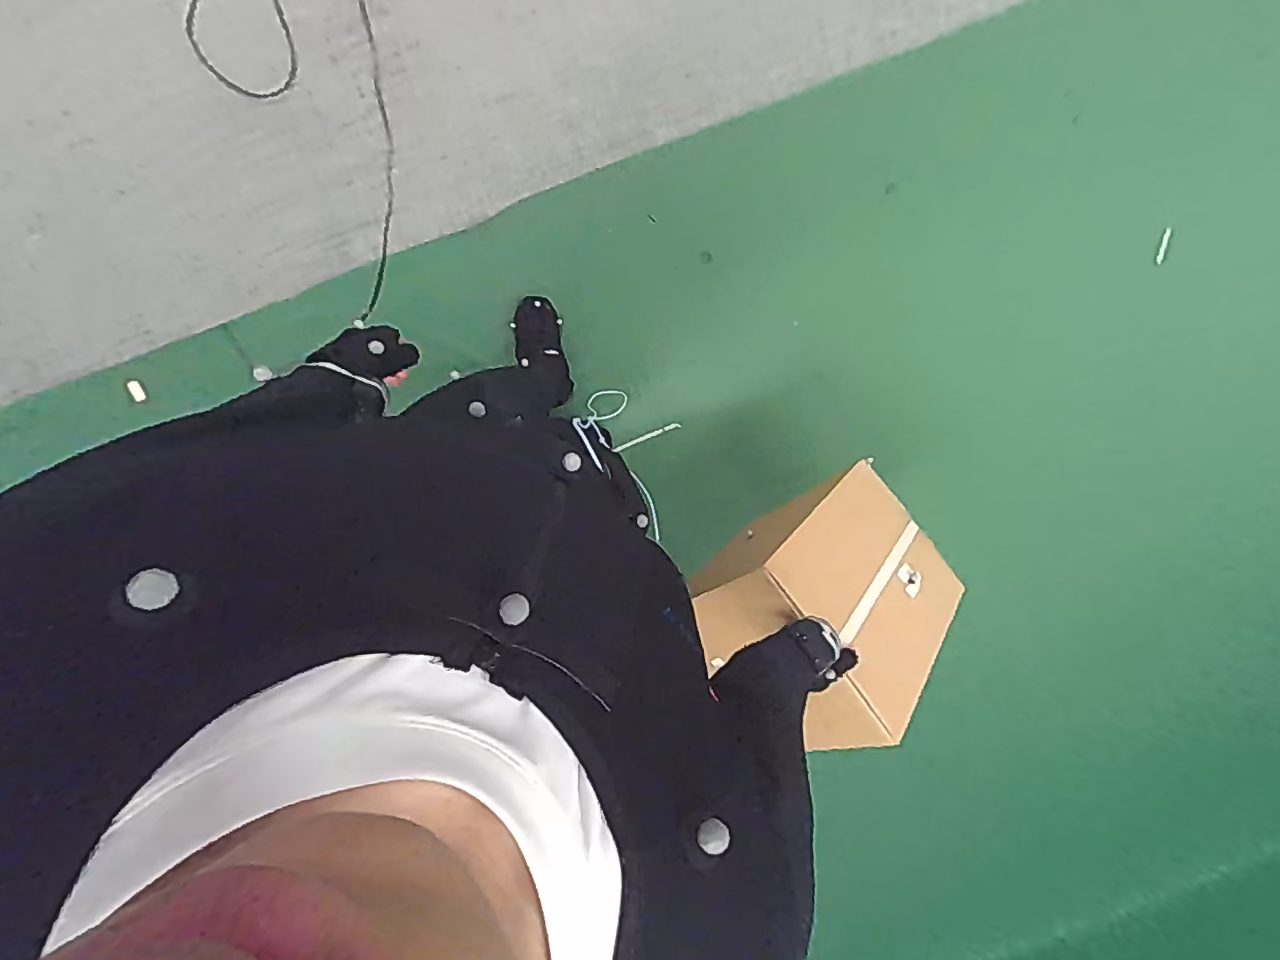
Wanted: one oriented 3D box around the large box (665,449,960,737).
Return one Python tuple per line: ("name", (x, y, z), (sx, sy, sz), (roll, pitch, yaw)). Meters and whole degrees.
("large box", (0.324, 0.209, 1.019), (0.320, 0.408, 0.320), (53, 139, 2))
